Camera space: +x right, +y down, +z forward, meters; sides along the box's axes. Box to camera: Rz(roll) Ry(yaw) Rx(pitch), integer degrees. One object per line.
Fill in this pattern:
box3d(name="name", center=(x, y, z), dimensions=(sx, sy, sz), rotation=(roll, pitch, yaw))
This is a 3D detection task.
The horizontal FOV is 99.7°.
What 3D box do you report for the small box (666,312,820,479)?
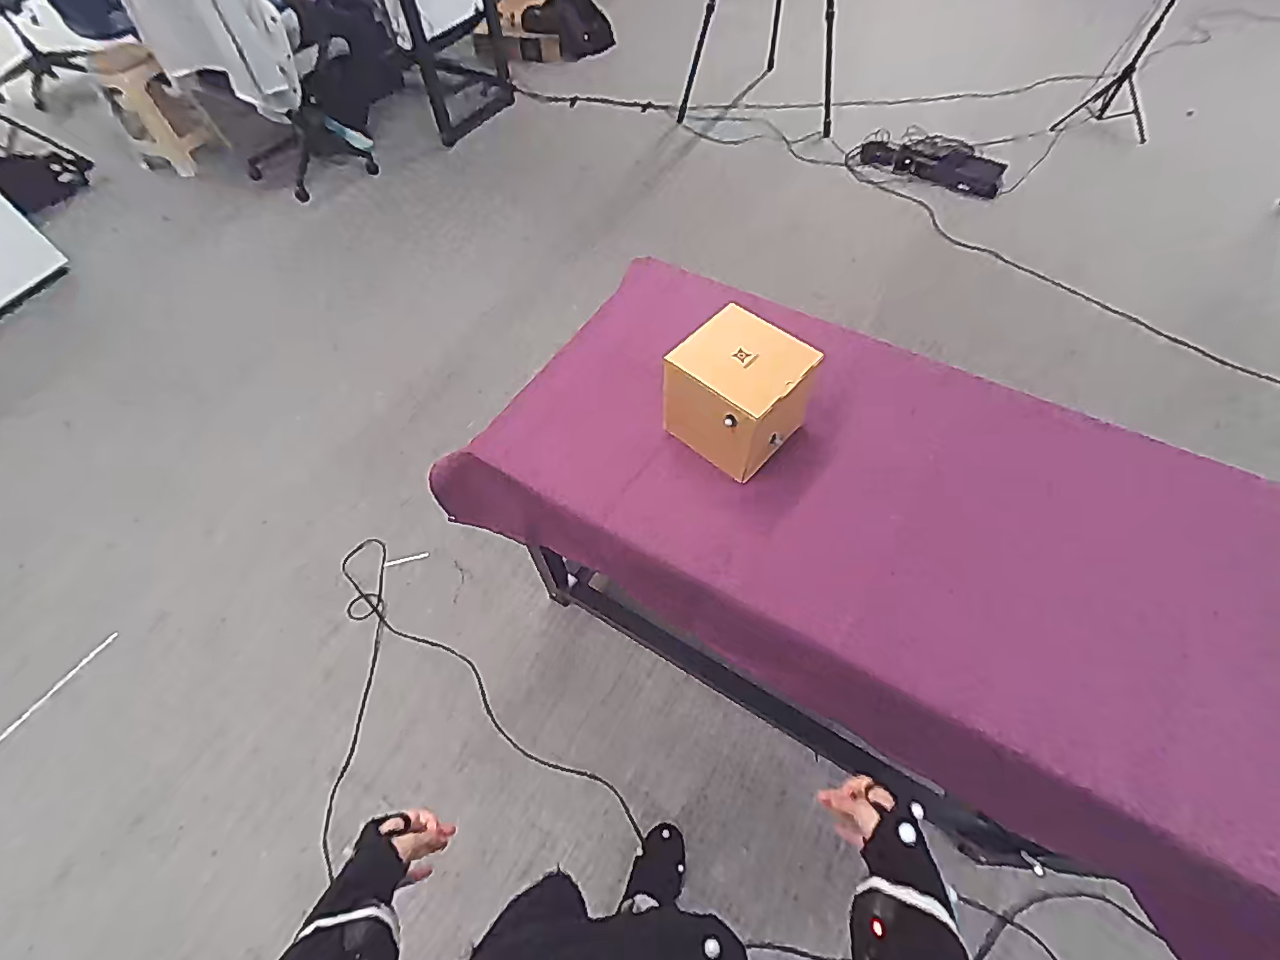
box3d(name="small box", center=(0.155, -0.133, 0.878), dimensions=(0.179, 0.176, 0.168), rotation=(38, 65, 22))
